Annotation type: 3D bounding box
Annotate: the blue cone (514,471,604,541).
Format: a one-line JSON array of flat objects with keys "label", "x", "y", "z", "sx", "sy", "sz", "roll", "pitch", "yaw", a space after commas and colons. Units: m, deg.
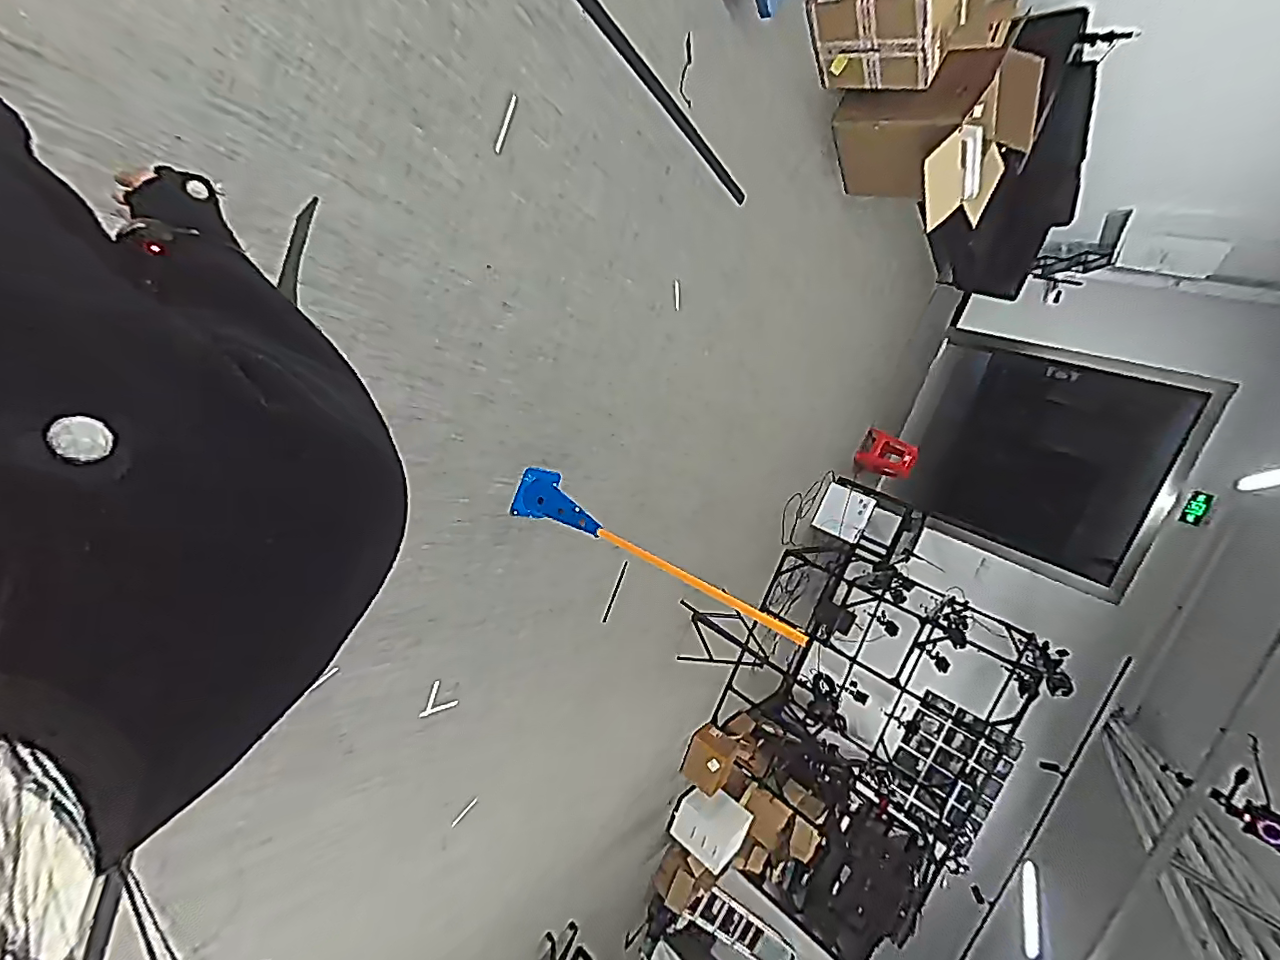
[{"label": "blue cone", "x": -0.277, "y": 0.123, "z": 2.033, "sx": 0.193, "sy": 0.380, "sz": 0.192, "roll": 16, "pitch": 100, "yaw": -56}]
